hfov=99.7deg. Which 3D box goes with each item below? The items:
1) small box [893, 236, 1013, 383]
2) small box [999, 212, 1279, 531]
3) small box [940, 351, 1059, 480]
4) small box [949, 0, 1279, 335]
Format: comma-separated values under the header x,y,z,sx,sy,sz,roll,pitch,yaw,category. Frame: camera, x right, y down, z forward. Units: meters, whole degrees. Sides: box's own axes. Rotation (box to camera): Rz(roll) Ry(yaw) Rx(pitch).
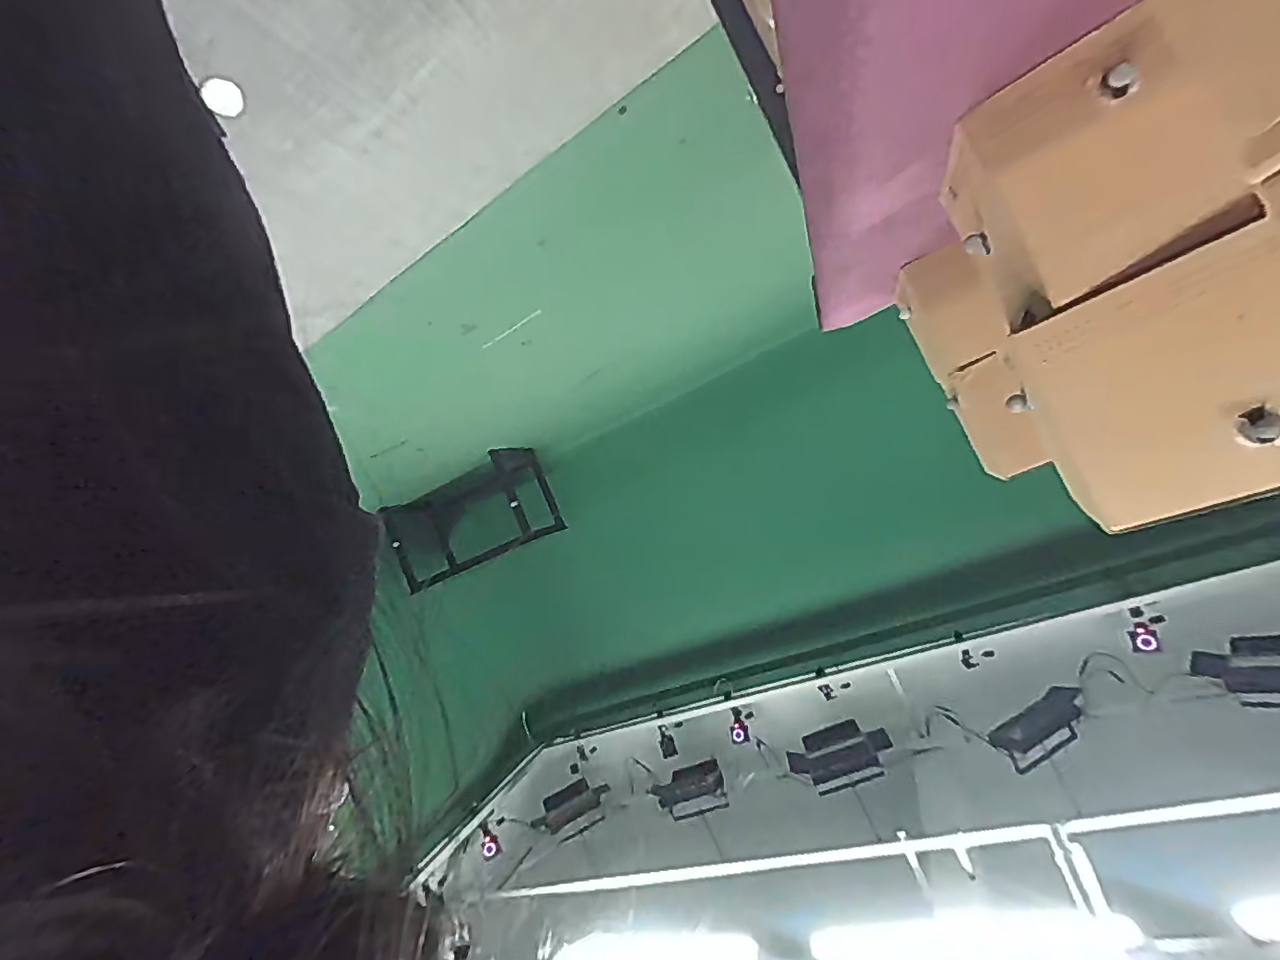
x,y,z,sx,sy,sz,roll,pitch,yaw,category
0.503,-0.265,0.796,0.179,0.176,0.168,-25,174,21,small box
0.422,-0.082,0.425,0.179,0.176,0.168,-26,174,31,small box
0.567,-0.116,0.777,0.179,0.176,0.168,-26,173,23,small box
0.378,-0.243,0.436,0.179,0.176,0.168,-26,175,25,small box
